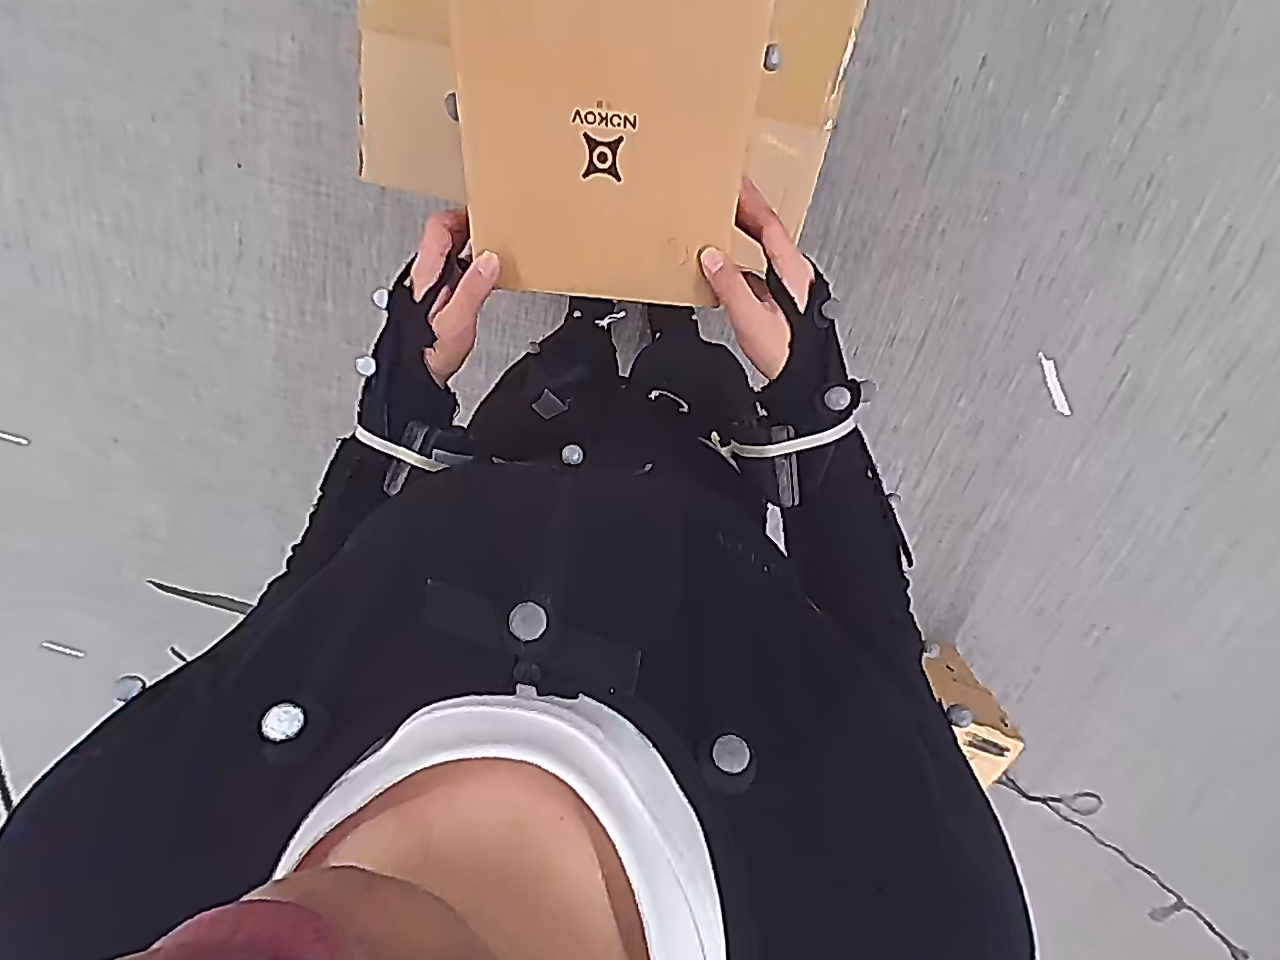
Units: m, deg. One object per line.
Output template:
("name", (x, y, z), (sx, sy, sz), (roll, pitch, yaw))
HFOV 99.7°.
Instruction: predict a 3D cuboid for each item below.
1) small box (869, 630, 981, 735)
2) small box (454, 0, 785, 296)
("small box", (0.746, 0.530, 1.438), (0.179, 0.176, 0.168), (22, 111, -1))
("small box", (-0.012, -0.246, 0.361), (0.168, 0.176, 0.179), (5, 128, -2))
